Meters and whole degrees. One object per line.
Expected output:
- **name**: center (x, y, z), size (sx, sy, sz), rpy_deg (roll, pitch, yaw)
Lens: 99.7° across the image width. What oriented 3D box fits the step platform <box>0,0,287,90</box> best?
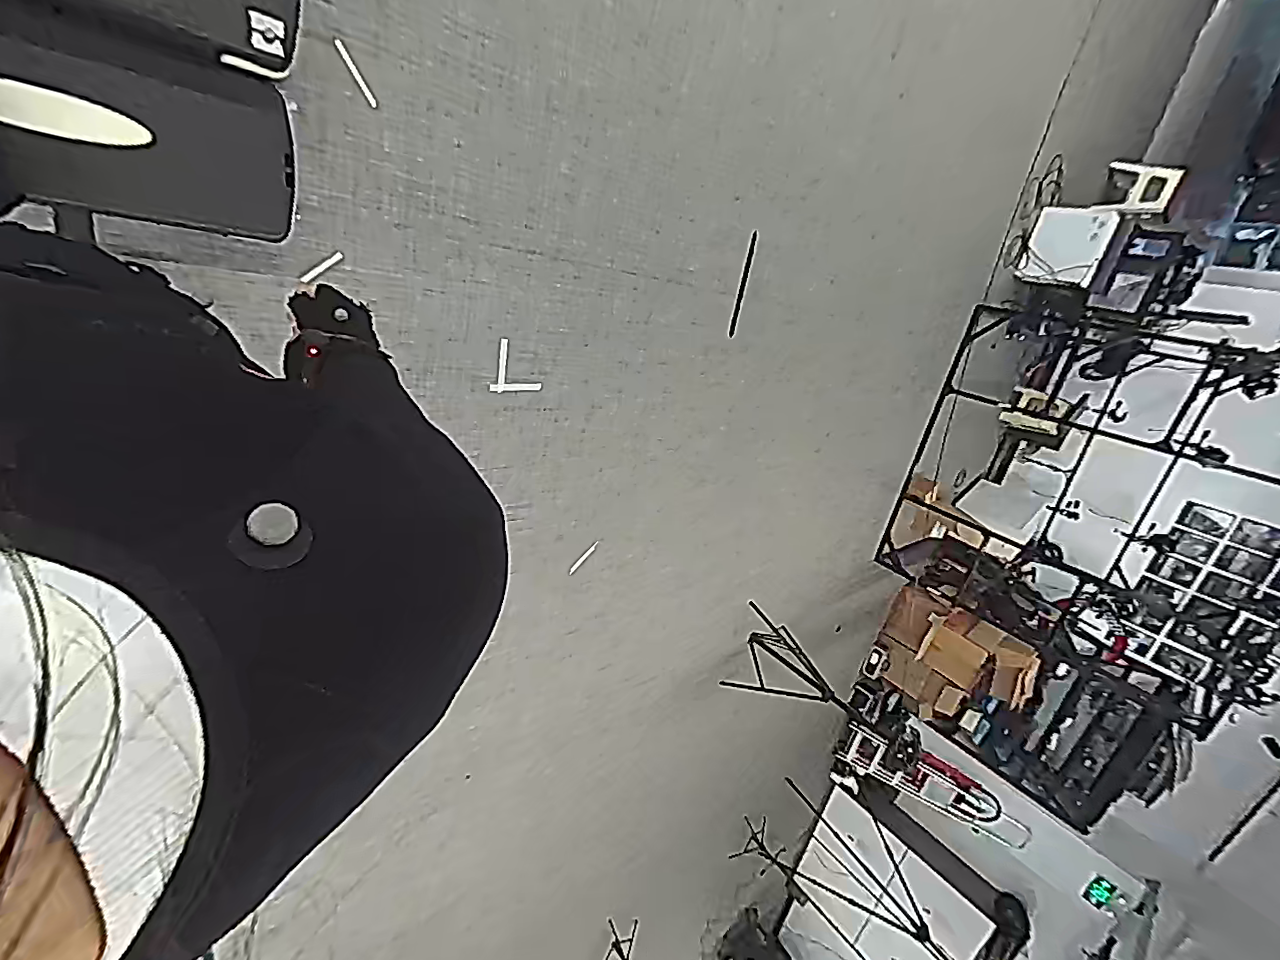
- **step platform**: center (-0.879, -0.801, 0.722), size (0.684, 0.204, 0.286), rpy_deg (-9, 120, -42)
